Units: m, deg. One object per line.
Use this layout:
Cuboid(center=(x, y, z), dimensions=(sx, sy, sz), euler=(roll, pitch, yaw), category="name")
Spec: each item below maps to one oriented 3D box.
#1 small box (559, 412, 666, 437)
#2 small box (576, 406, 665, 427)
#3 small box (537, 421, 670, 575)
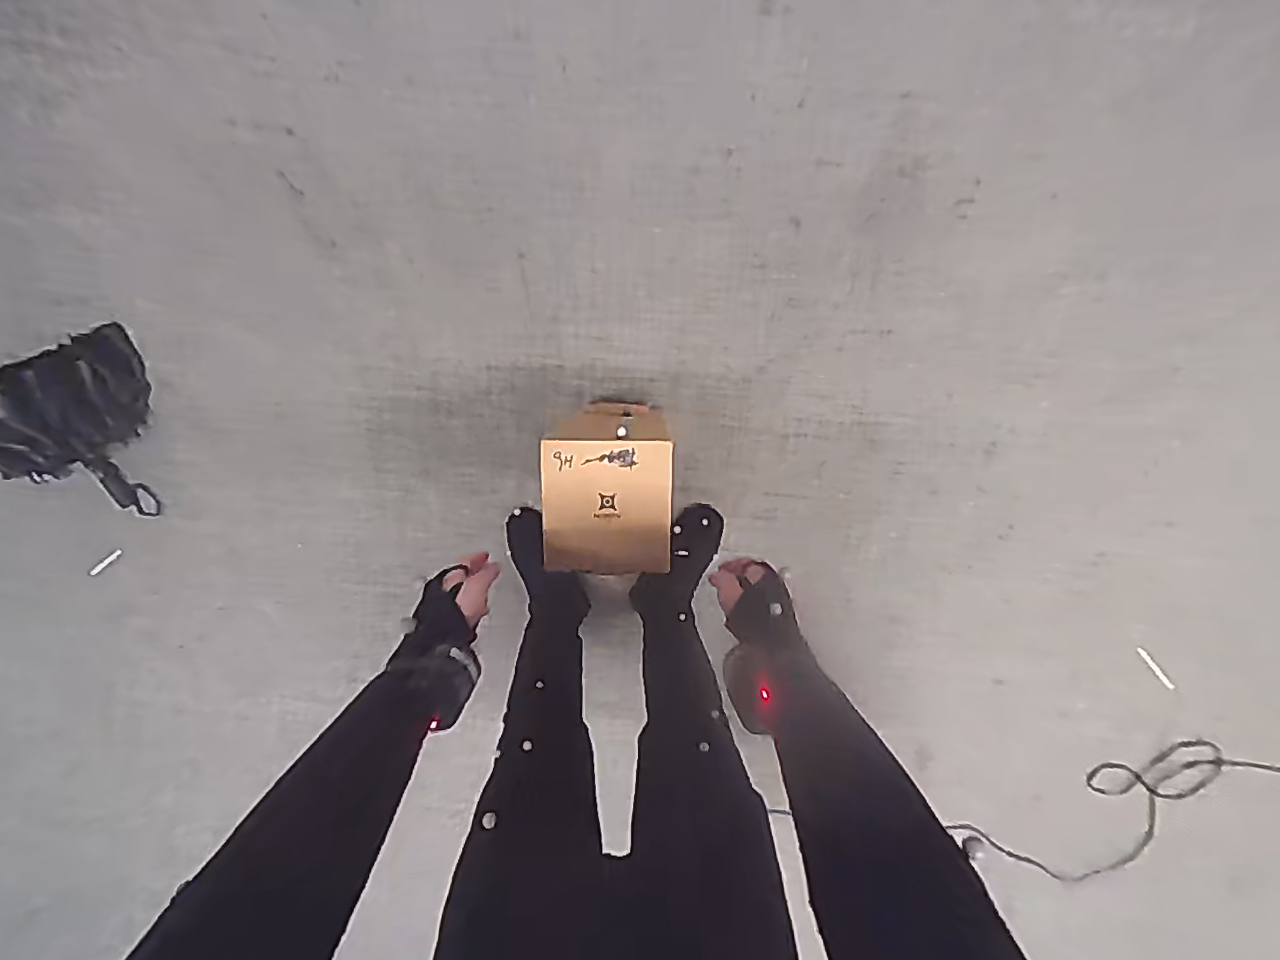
Cuboid(center=(-0.044, -0.018, 0.911), dimensions=(0.168, 0.176, 0.179), euler=(2, 101, 0), category="small box")
Cuboid(center=(-0.041, -0.052, 1.069), dimensions=(0.168, 0.176, 0.179), euler=(3, 103, 1), category="small box")
Cuboid(center=(-0.044, 0.017, 0.752), dimensions=(0.168, 0.176, 0.179), euler=(0, 103, 0), category="small box")
